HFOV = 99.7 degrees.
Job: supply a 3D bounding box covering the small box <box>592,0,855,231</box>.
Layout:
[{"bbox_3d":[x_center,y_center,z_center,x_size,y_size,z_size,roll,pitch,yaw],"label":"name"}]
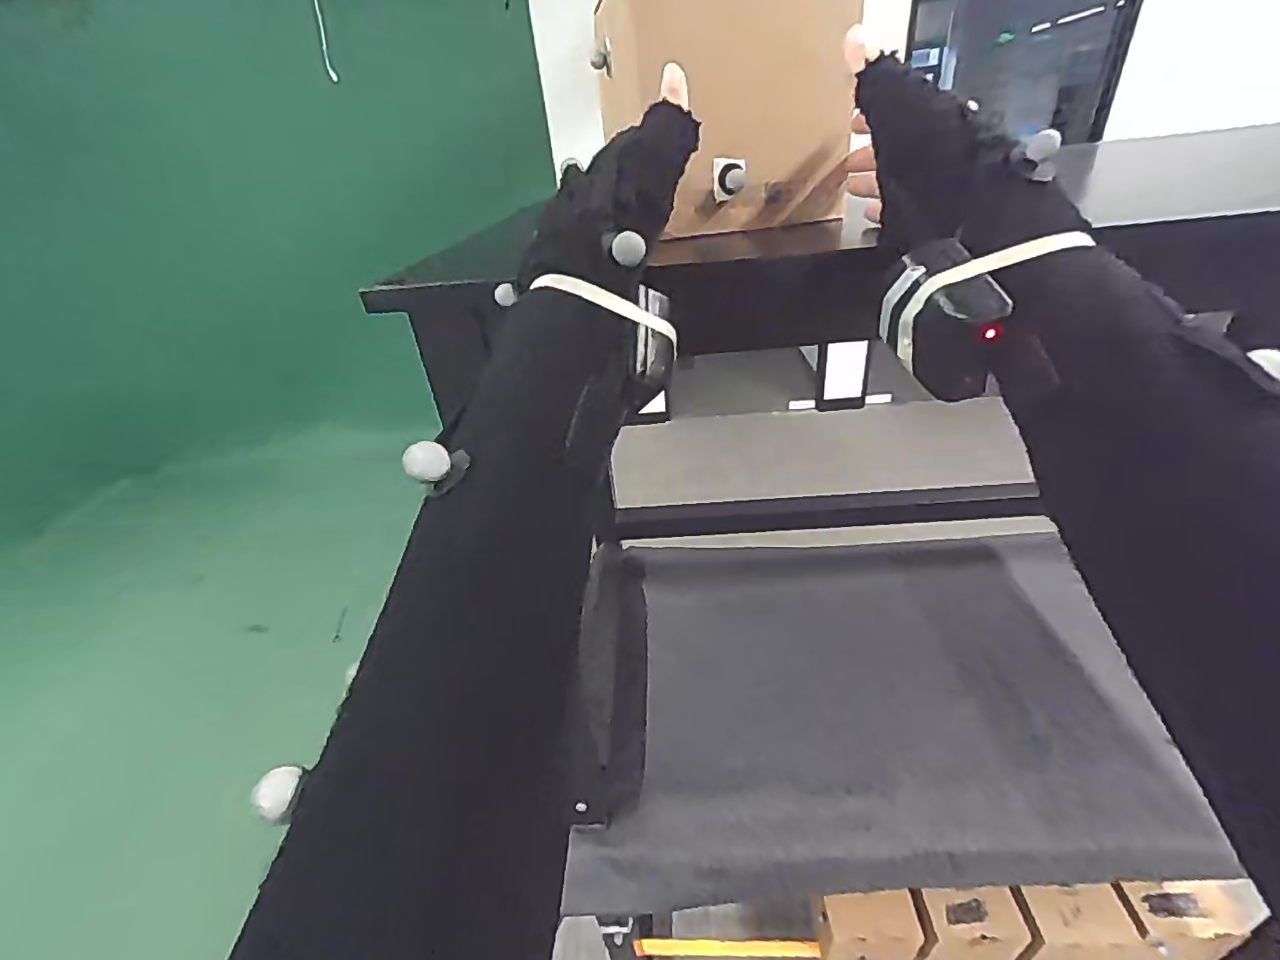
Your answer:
[{"bbox_3d":[0.056,-0.313,0.452,0.168,0.176,0.179,-10,33,-5],"label":"small box"}]
